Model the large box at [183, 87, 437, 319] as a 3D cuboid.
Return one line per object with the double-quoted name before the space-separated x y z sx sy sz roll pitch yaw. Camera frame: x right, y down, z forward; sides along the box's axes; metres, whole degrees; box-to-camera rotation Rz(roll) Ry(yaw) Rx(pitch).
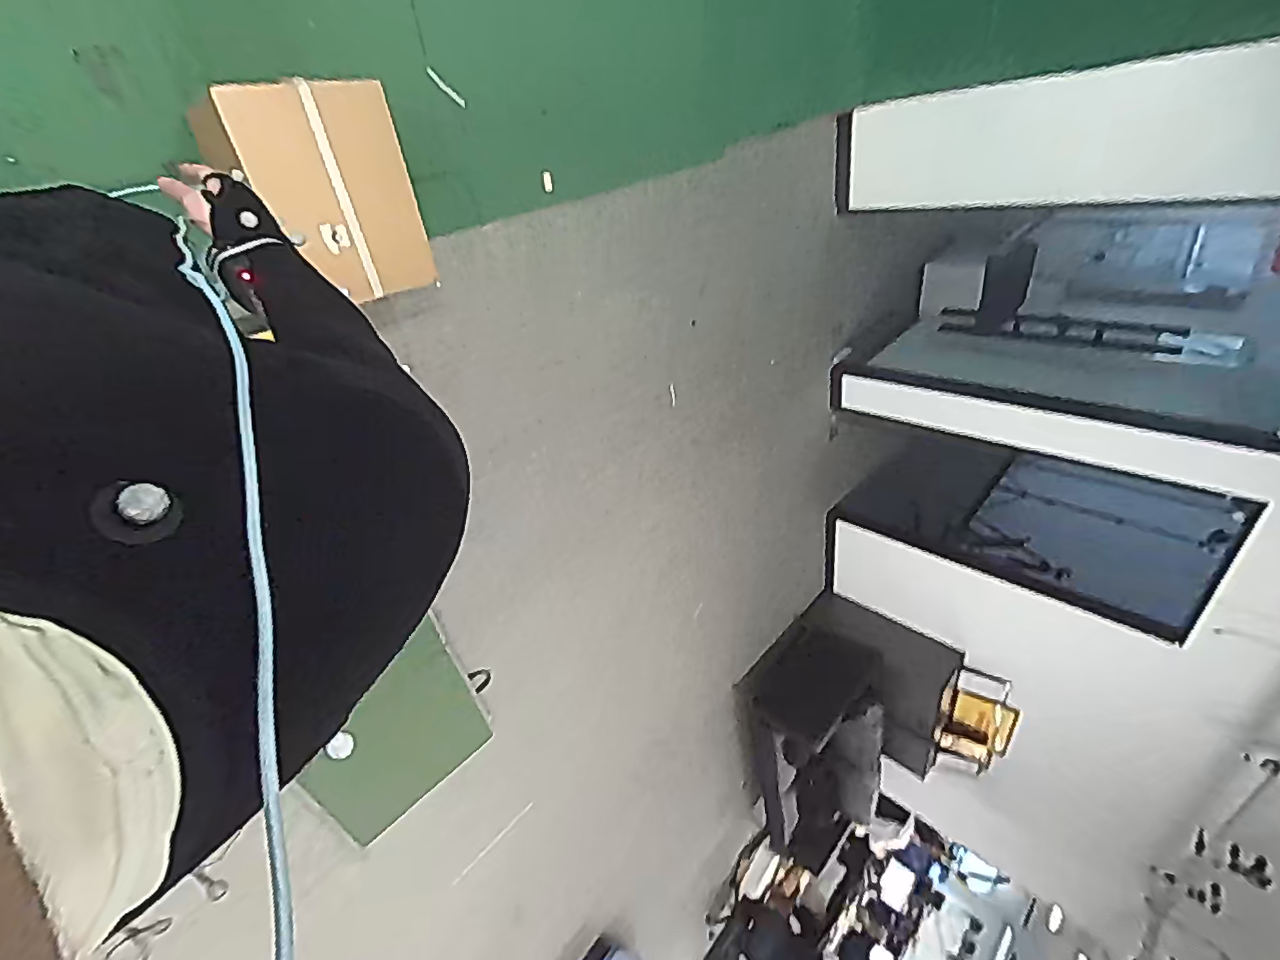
"large box" -0.737 -0.626 1.238 0.320 0.320 0.408 -33 129 -33
